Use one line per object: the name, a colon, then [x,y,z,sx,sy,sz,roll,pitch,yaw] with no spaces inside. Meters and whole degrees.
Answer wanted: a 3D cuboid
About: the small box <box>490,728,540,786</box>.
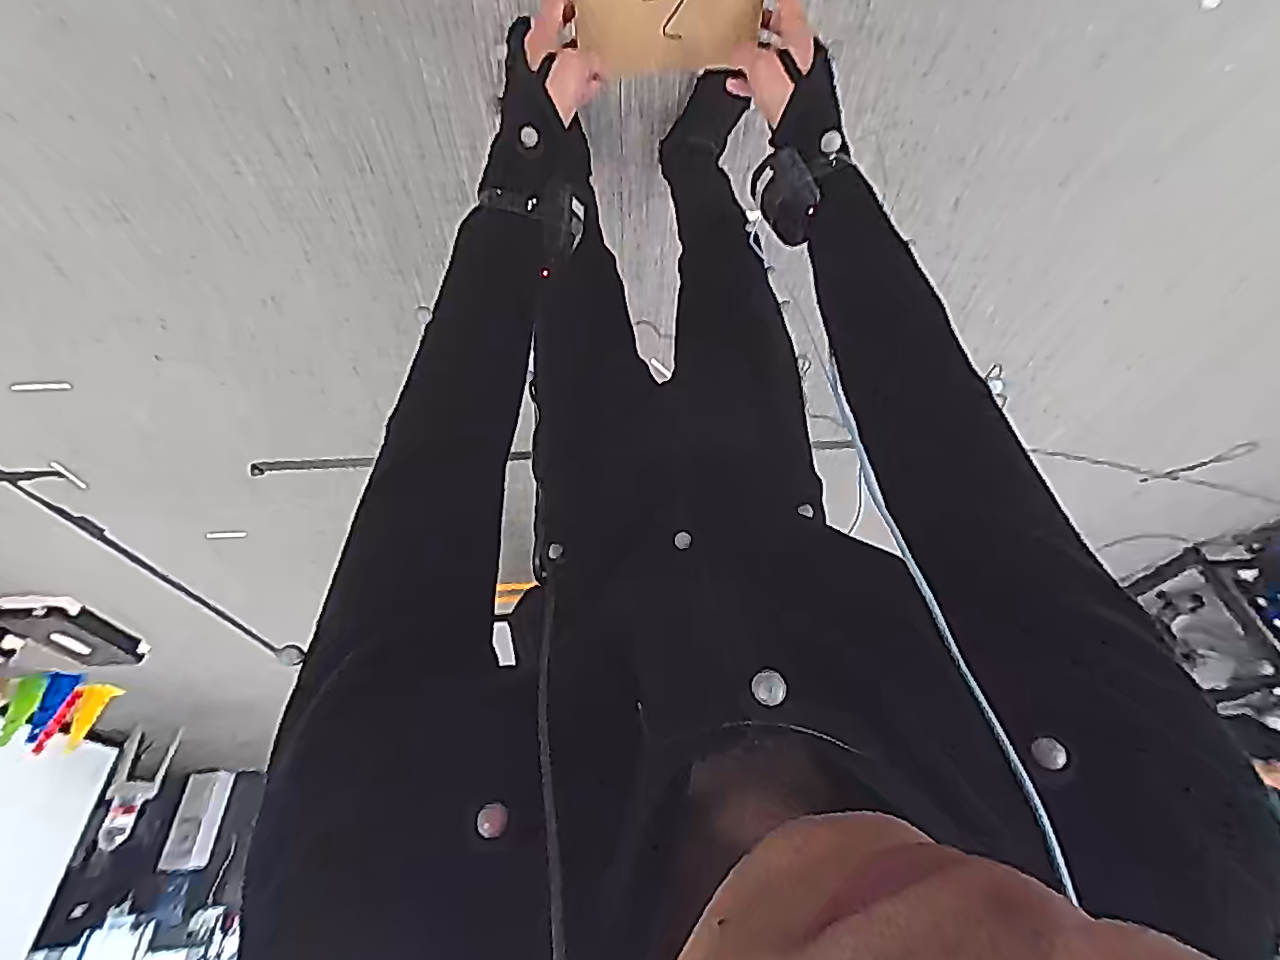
small box: [-0.478,1.059,2.077,0.168,0.176,0.179,-3,143,-5]
